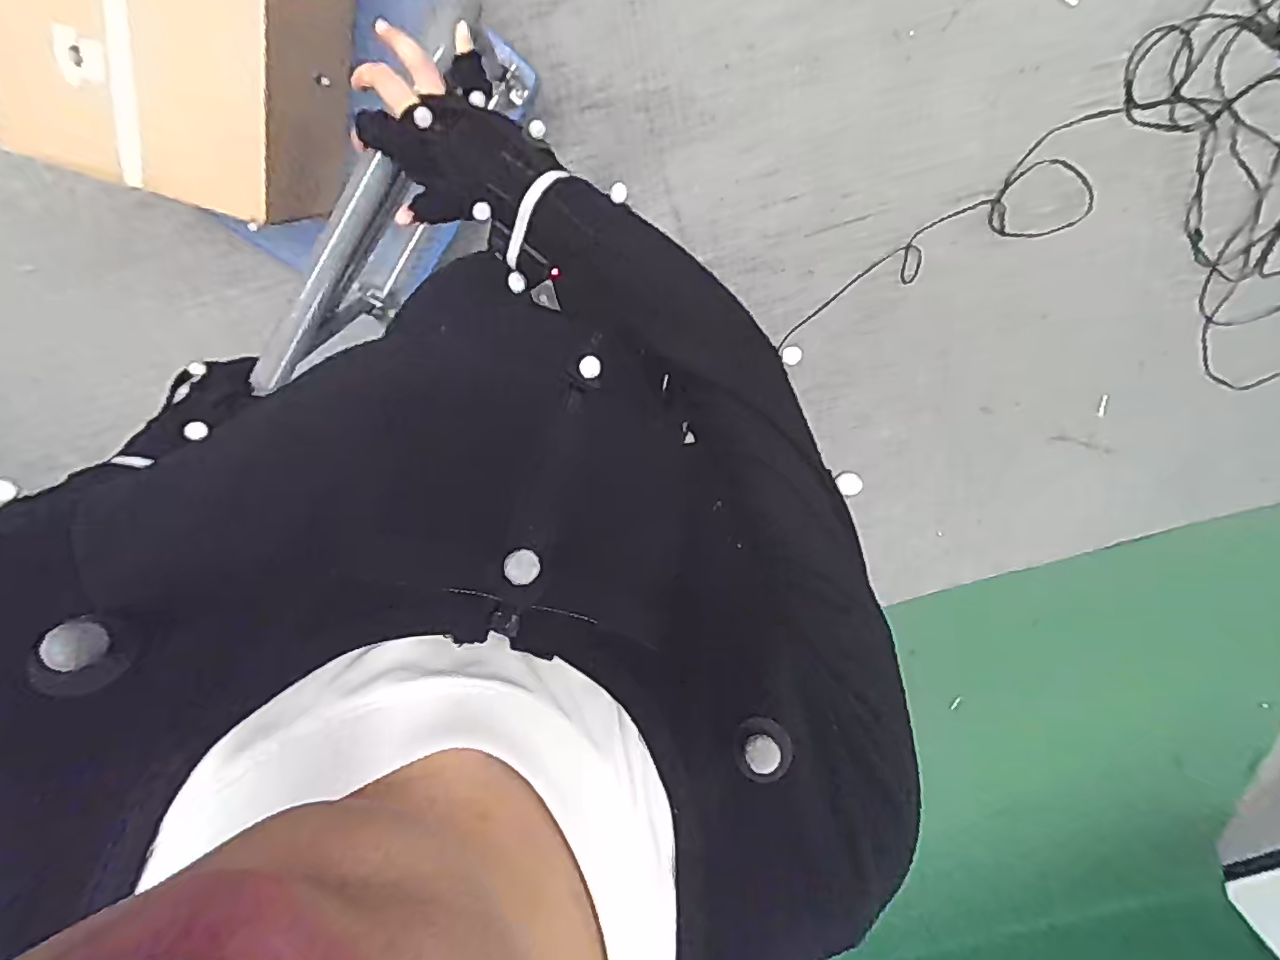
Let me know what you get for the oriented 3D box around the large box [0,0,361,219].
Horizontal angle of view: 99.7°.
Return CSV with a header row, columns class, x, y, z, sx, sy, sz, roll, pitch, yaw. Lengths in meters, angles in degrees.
class,x,y,z,sx,sy,sz,roll,pitch,yaw
large box,-0.621,-0.652,0.784,0.320,0.320,0.408,13,118,-14
